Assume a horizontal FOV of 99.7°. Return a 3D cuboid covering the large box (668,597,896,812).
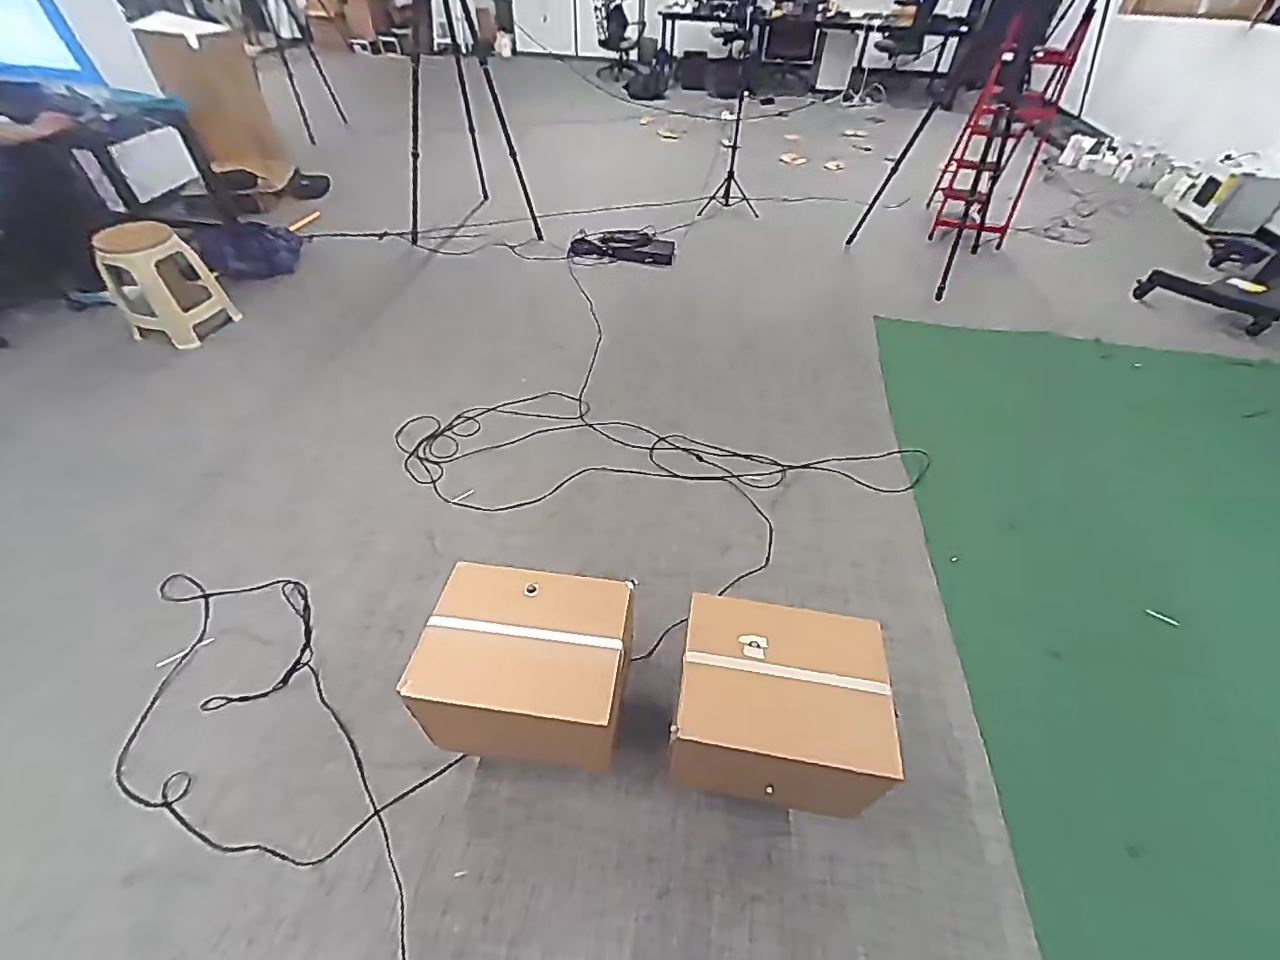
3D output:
[{"bbox_3d":[0.285,0.494,1.189,0.408,0.320,0.320,8,46,6],"label":"large box"}]
